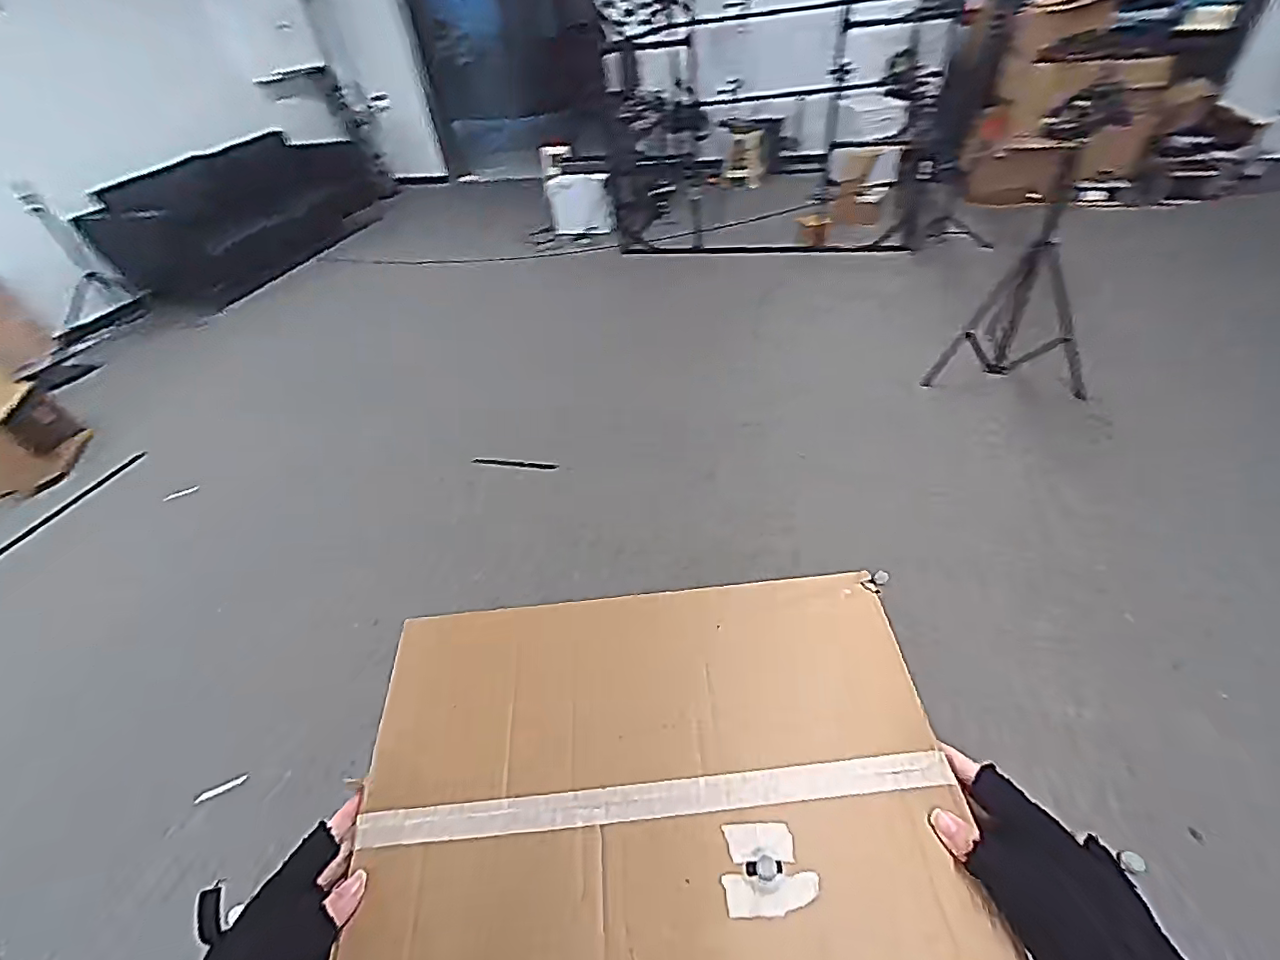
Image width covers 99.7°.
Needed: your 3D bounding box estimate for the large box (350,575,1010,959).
[{"bbox_3d":[0.017,0.321,0.497,0.408,0.320,0.320,-6,50,-1],"label":"large box"}]
